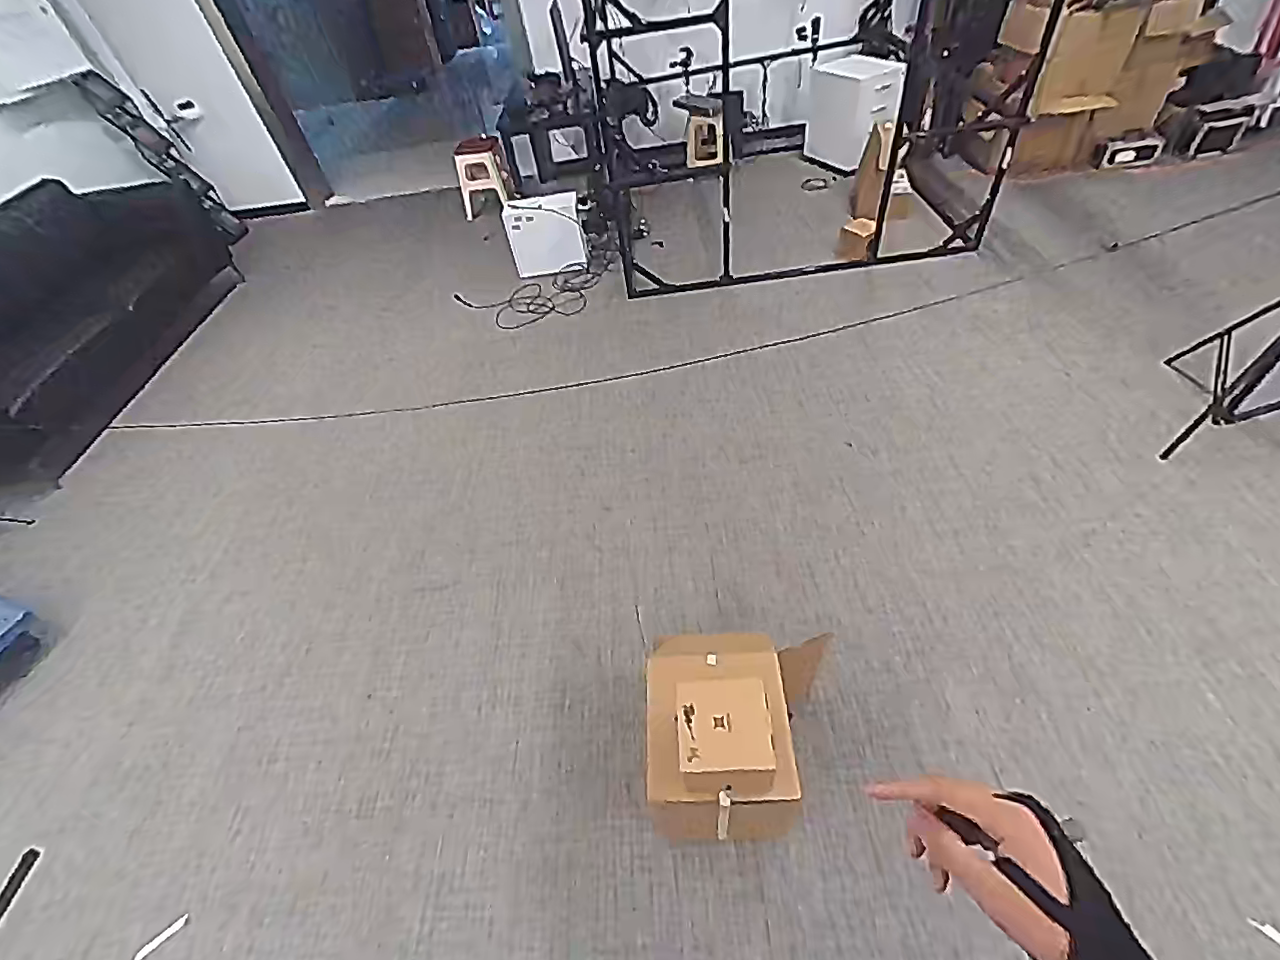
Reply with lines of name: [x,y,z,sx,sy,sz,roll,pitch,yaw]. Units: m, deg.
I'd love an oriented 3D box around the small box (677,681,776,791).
small box: [0.168,0.518,1.092,0.179,0.176,0.168,-4,49,5]
